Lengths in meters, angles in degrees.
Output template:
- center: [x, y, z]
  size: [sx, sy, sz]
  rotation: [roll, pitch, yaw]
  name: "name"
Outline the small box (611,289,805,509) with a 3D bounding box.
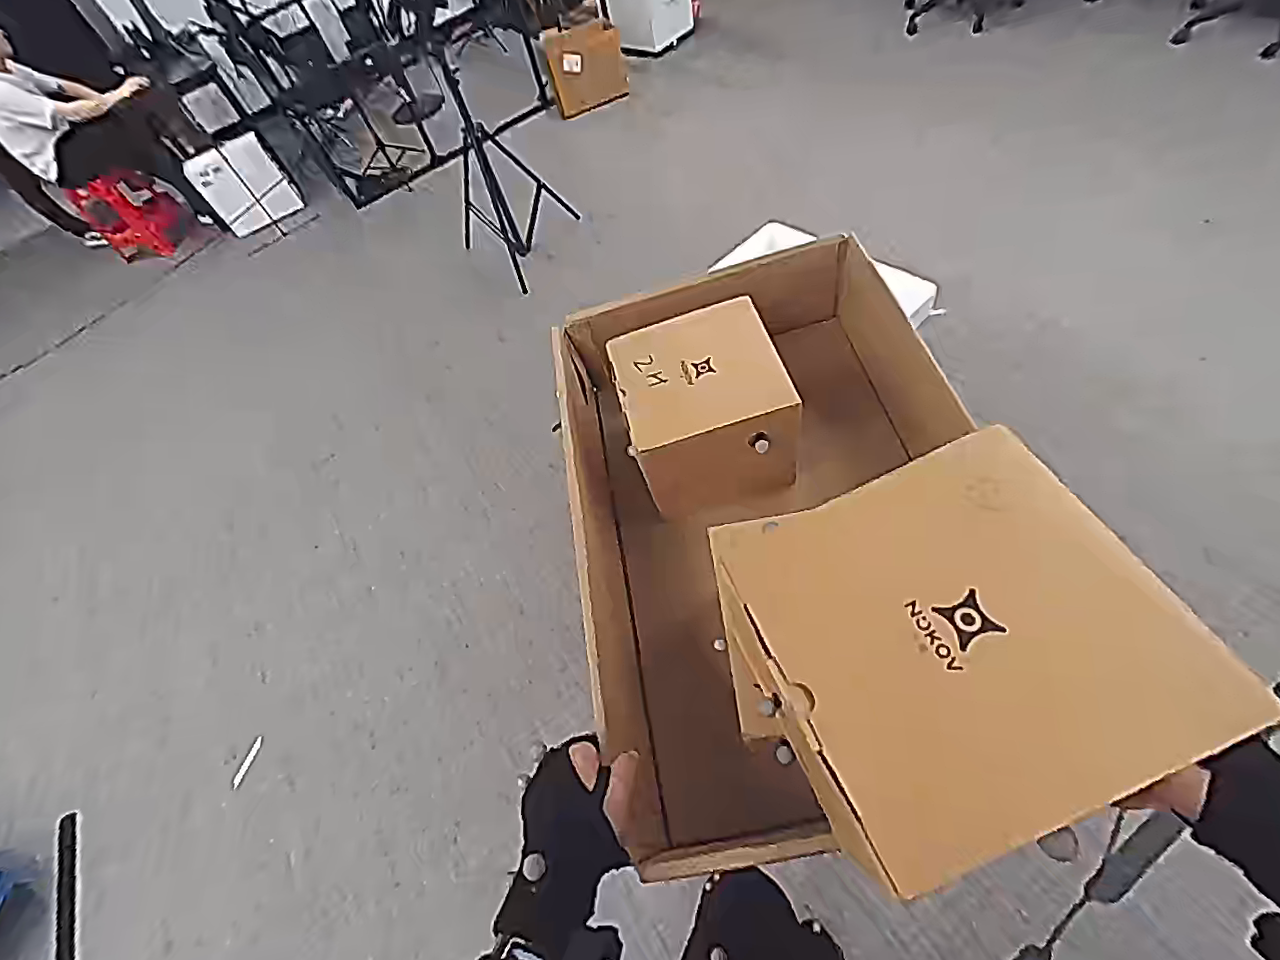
- center: [0.080, -0.088, 0.646]
  size: [0.179, 0.176, 0.168]
  rotation: [-17, 58, 4]
  name: "small box"
